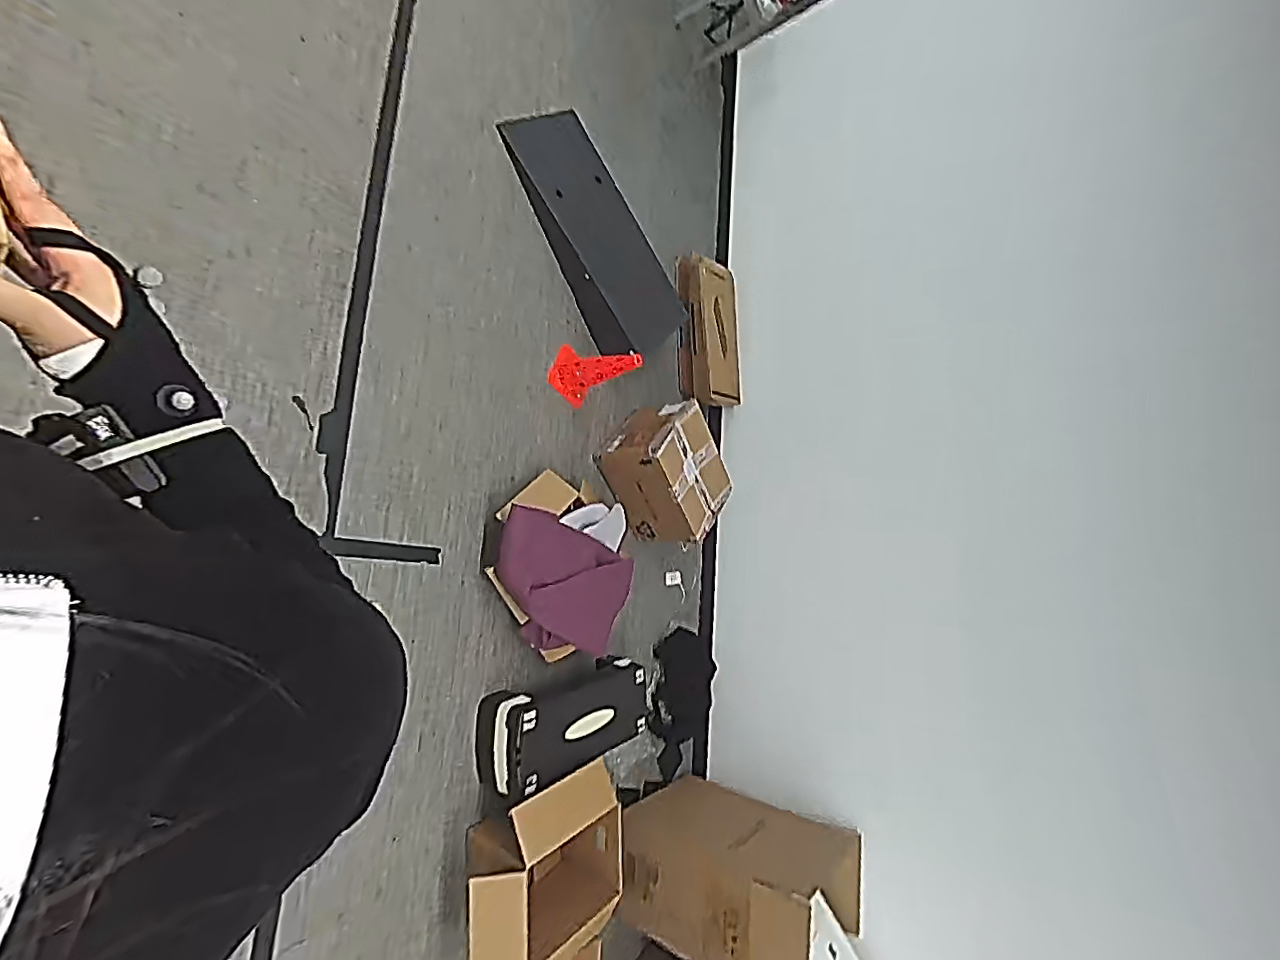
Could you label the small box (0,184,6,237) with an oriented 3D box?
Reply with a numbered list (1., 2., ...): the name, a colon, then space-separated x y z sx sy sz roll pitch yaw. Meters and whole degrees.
1. small box: -0.443 -0.198 0.250 0.179 0.176 0.168 -11 104 -52
